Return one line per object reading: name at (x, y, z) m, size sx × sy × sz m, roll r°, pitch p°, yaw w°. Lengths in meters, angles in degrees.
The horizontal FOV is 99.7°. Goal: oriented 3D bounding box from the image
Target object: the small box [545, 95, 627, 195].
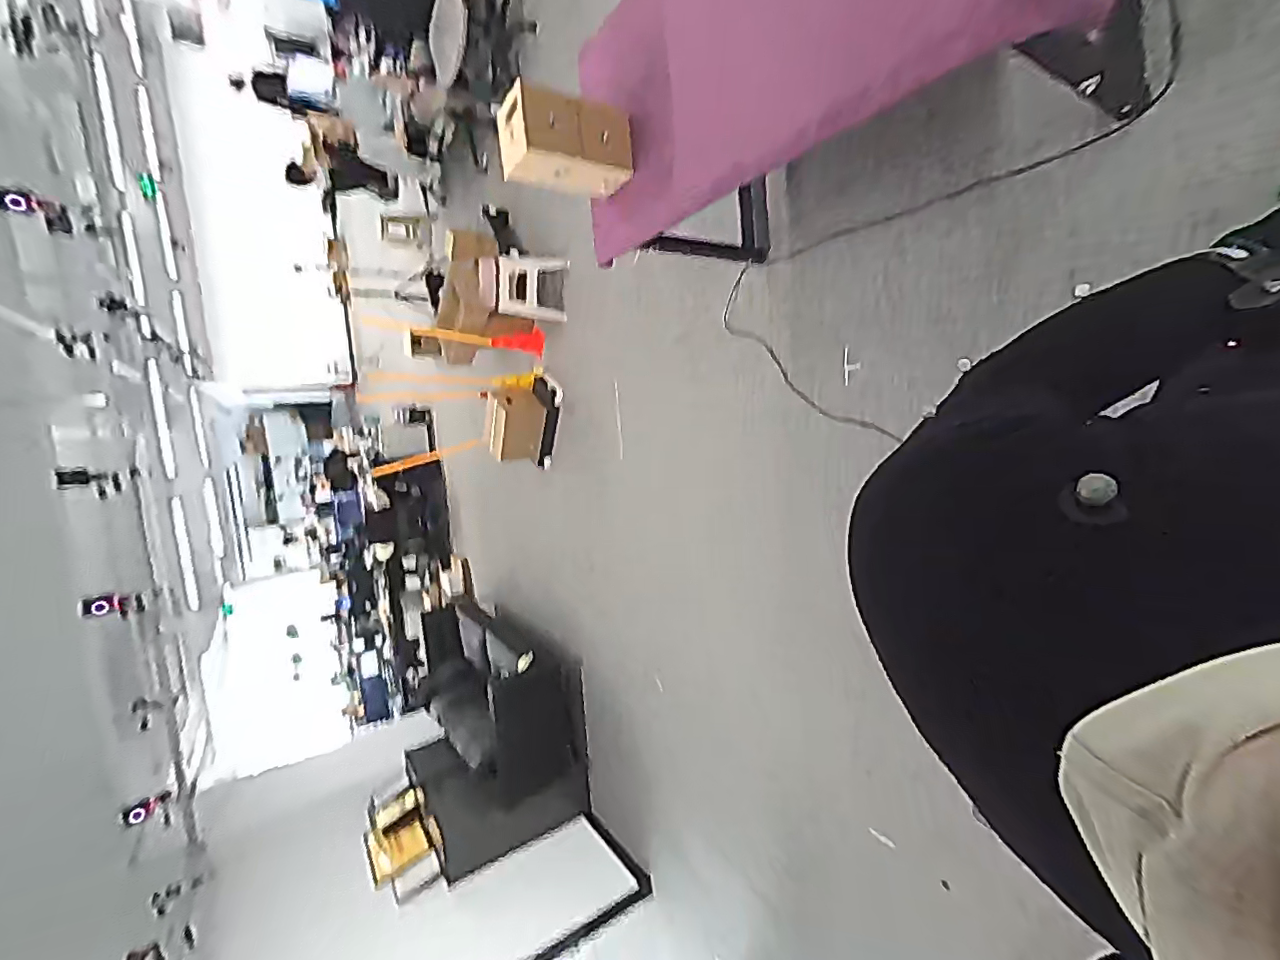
small box at (-0.154, -0.953, 1.556) m, size 0.168 × 0.176 × 0.179 m, roll 2°, pitch 99°, yaw 55°
